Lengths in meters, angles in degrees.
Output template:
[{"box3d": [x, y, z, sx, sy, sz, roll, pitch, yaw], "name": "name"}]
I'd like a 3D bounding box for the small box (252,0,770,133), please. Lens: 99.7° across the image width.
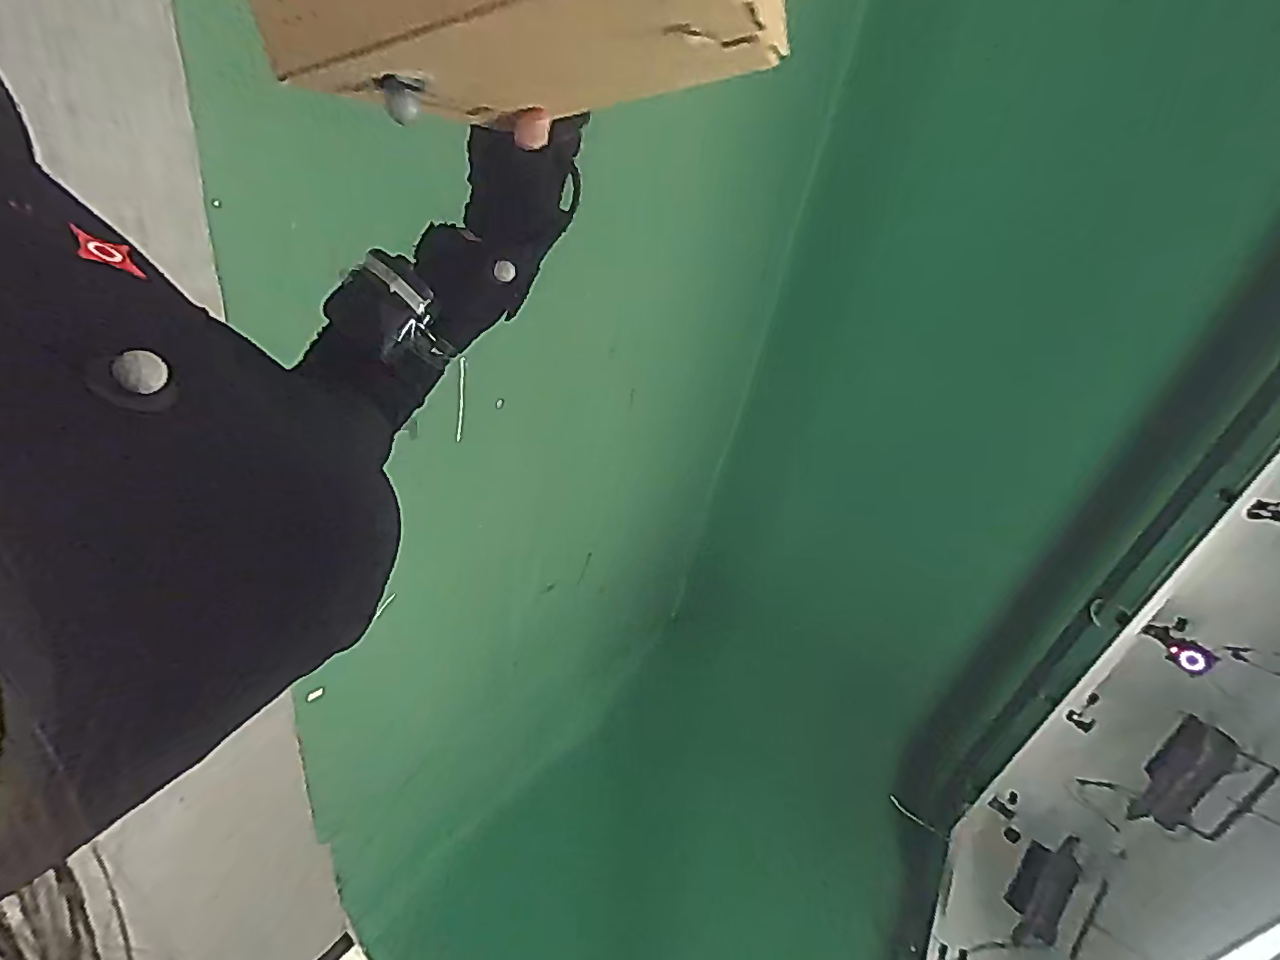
[{"box3d": [-0.047, -0.255, 0.209, 0.168, 0.176, 0.179, -56, 141, -58], "name": "small box"}]
